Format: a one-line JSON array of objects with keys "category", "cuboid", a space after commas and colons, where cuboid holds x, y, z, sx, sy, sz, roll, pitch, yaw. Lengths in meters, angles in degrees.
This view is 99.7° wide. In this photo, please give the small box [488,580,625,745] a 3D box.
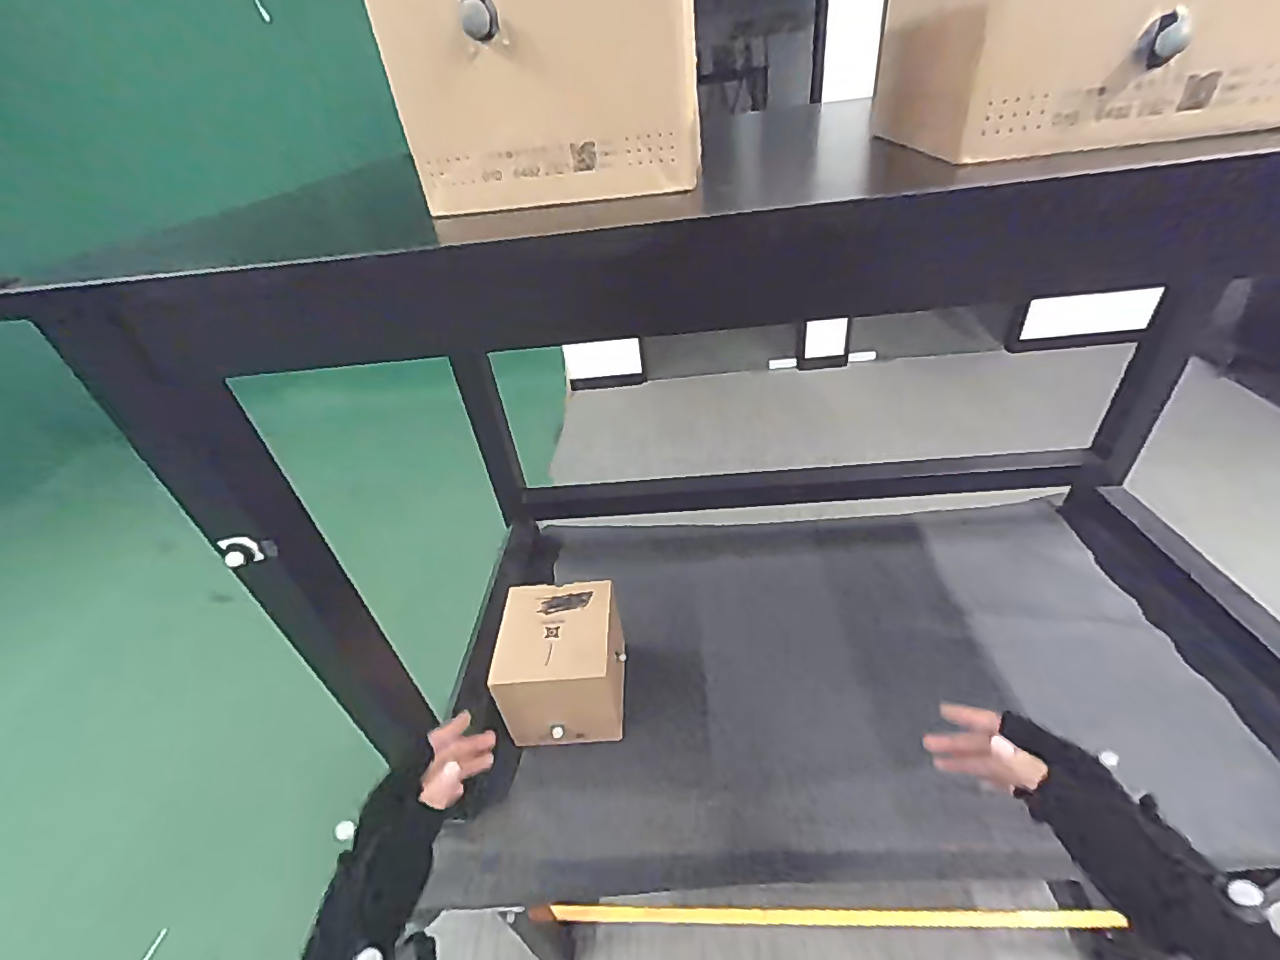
[{"category": "small box", "cuboid": [-0.116, 0.279, 0.834, 0.168, 0.176, 0.179, -5, 36, 4]}]

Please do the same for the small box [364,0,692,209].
[{"category": "small box", "cuboid": [-0.055, -0.283, 0.351, 0.168, 0.176, 0.179, -2, 36, 9]}]
